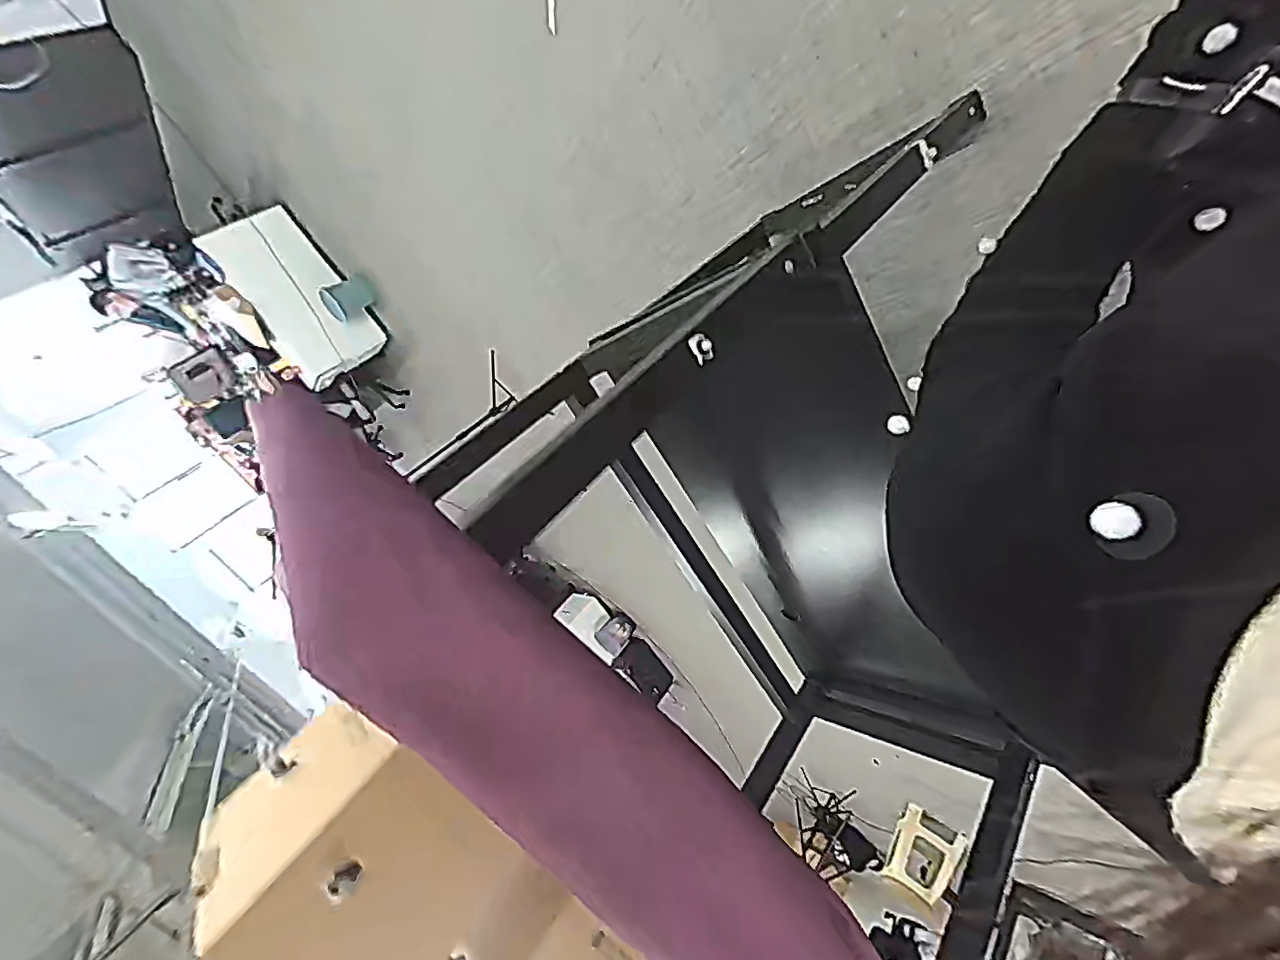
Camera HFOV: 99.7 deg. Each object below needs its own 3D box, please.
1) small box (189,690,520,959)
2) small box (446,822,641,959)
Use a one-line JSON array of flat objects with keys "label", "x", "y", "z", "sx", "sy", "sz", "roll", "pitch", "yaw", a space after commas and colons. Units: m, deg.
[{"label": "small box", "x": -0.242, "y": 0.320, "z": 0.476, "sx": 0.168, "sy": 0.176, "sz": 0.179, "roll": 3, "pitch": 132, "yaw": 52}, {"label": "small box", "x": -0.122, "y": 0.516, "z": 0.578, "sx": 0.179, "sy": 0.176, "sz": 0.168, "roll": -3, "pitch": 126, "yaw": 55}]
